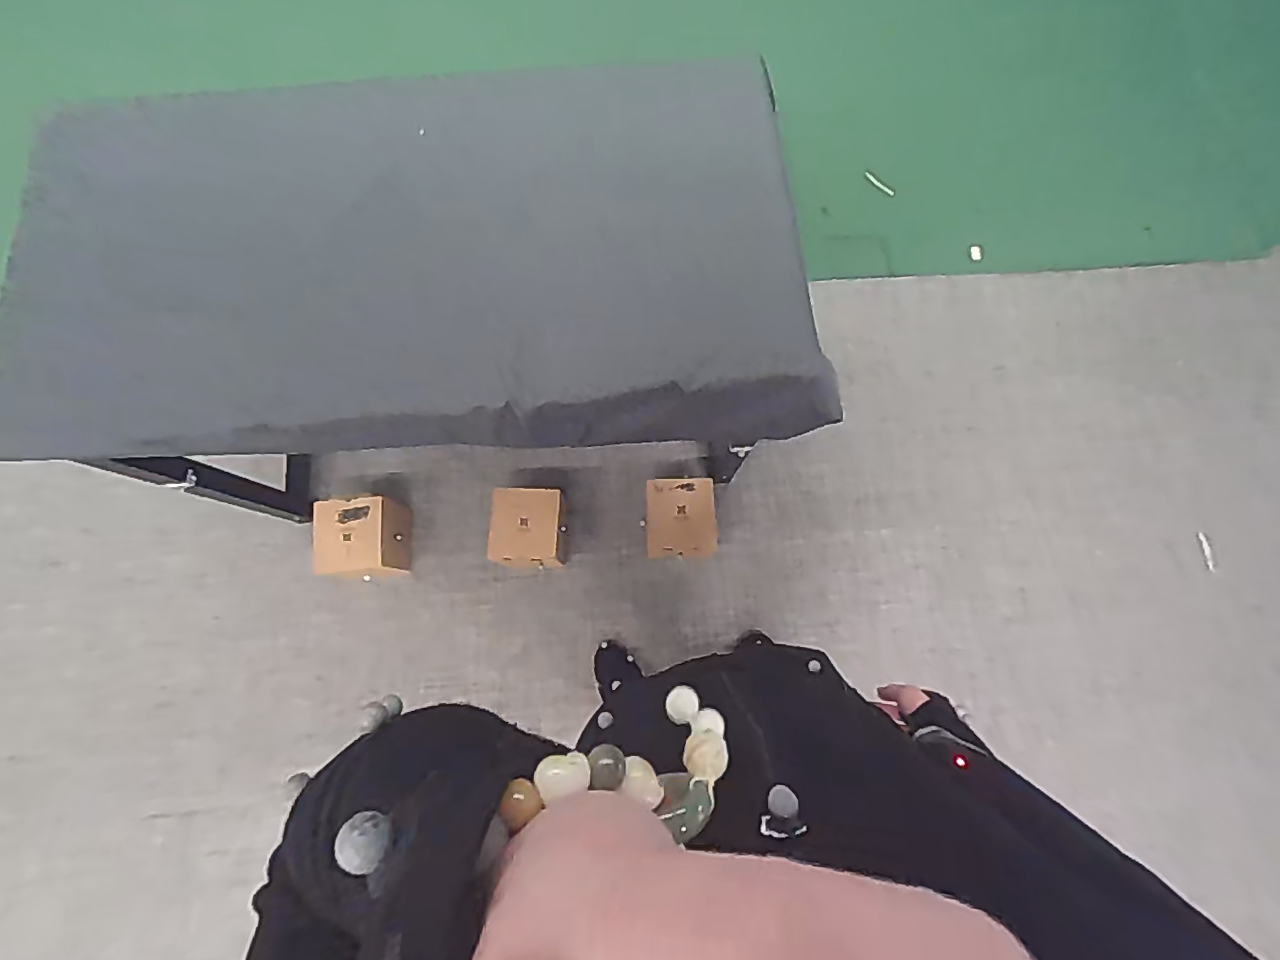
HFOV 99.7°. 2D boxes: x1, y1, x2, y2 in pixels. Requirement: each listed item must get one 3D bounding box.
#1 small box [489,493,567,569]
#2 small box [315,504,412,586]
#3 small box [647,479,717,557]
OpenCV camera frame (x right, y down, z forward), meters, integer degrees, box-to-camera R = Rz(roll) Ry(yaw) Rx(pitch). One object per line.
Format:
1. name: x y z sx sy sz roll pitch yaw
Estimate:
1. small box: -0.276 0.135 1.373 0.168 0.176 0.179 0 75 -2
2. small box: -0.688 0.167 1.362 0.168 0.176 0.179 -6 77 -1
3. small box: 0.102 0.103 1.381 0.168 0.176 0.179 -2 75 0
